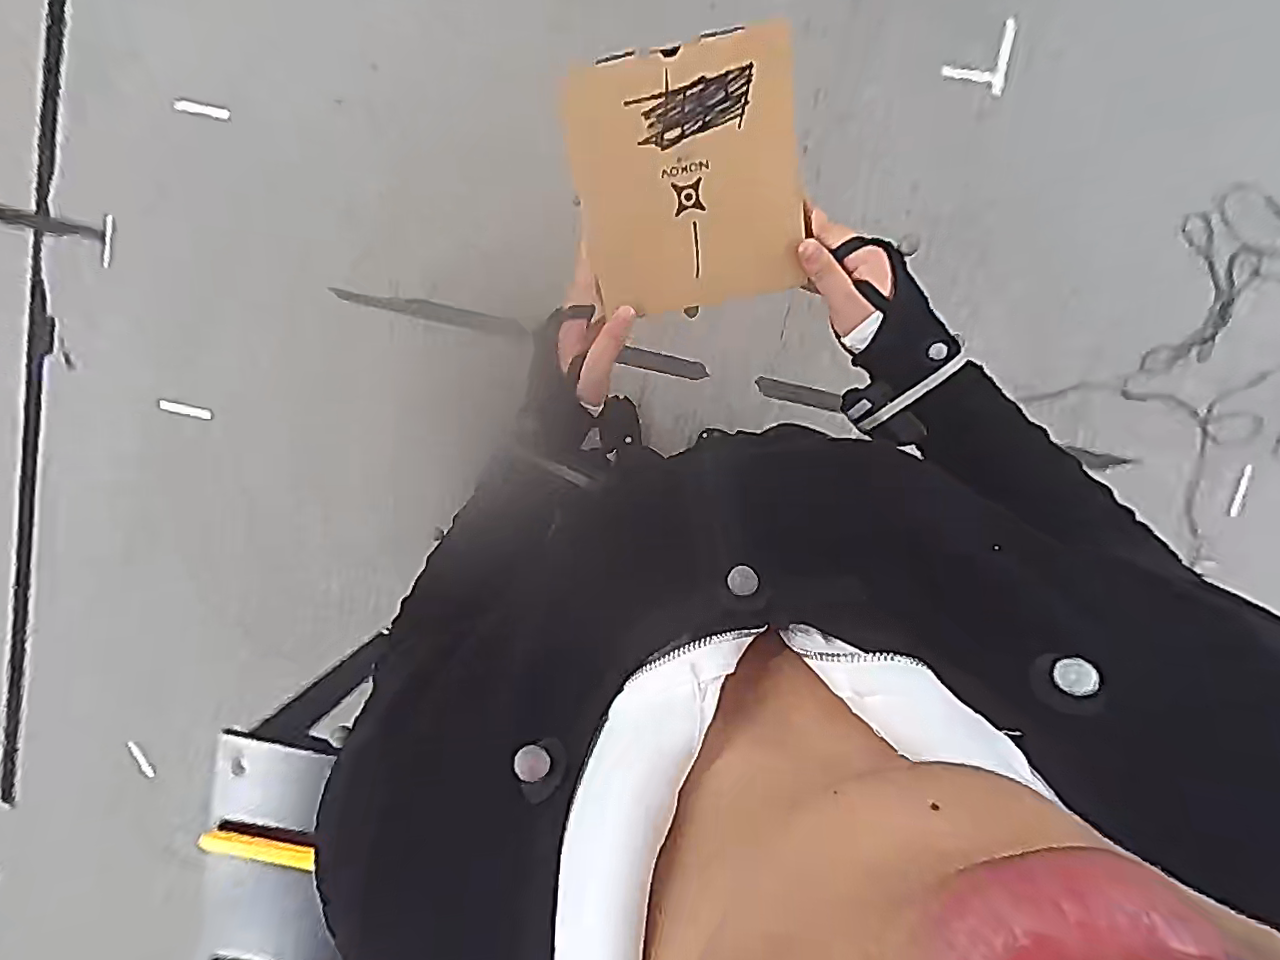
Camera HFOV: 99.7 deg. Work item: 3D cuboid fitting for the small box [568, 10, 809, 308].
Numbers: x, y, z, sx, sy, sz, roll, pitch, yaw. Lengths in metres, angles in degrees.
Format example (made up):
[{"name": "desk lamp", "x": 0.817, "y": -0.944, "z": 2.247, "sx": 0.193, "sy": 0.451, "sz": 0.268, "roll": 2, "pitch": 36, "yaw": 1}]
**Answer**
[{"name": "small box", "x": 0.043, "y": -0.256, "z": 0.475, "sx": 0.168, "sy": 0.176, "sz": 0.179, "roll": -8, "pitch": 111, "yaw": 6}]
